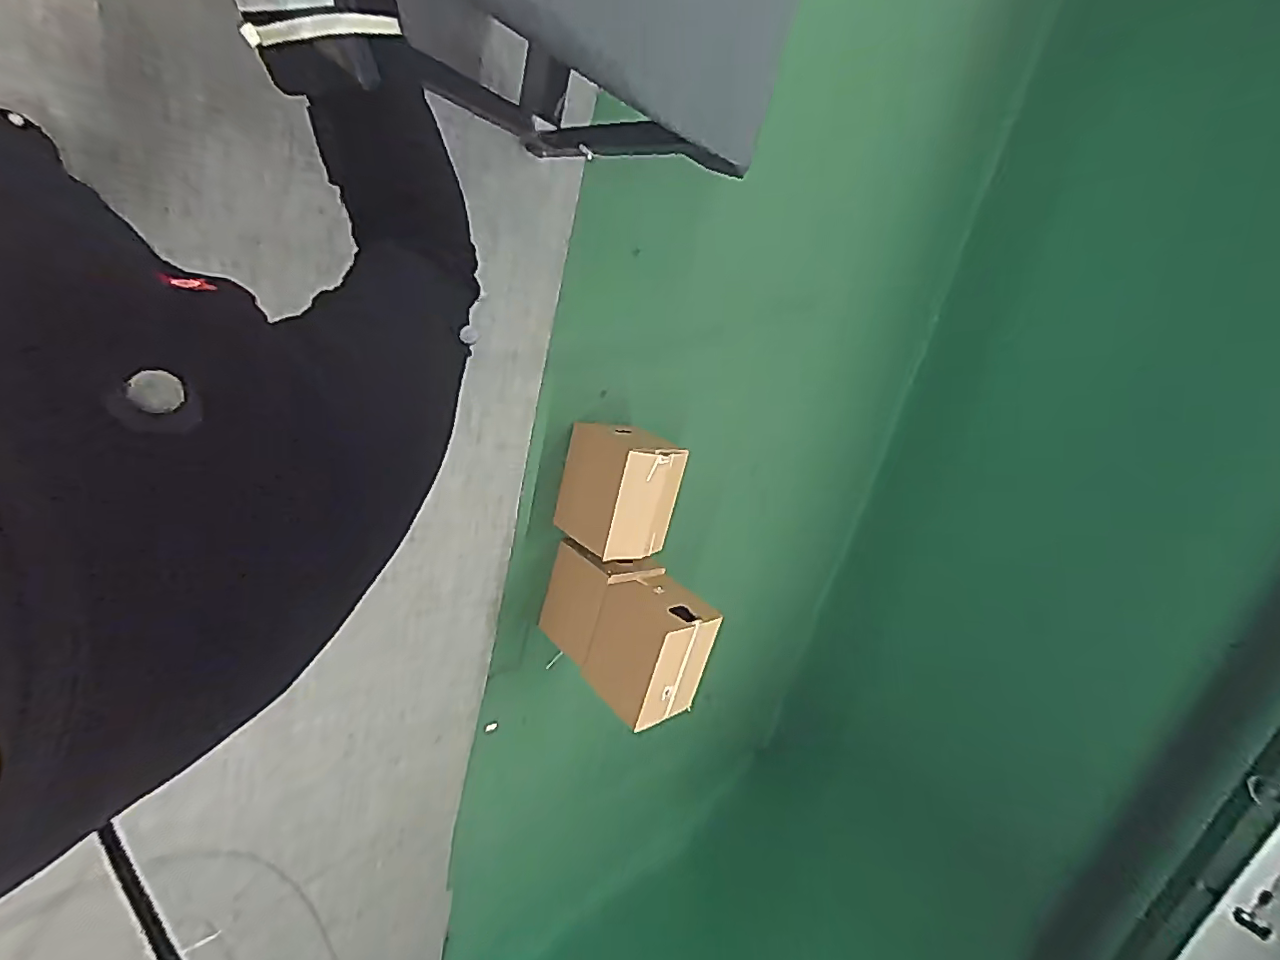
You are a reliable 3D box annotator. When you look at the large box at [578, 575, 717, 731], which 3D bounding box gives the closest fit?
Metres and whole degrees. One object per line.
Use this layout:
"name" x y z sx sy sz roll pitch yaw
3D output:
"large box" 0.021 0.612 1.980 0.320 0.320 0.408 1 112 -45
